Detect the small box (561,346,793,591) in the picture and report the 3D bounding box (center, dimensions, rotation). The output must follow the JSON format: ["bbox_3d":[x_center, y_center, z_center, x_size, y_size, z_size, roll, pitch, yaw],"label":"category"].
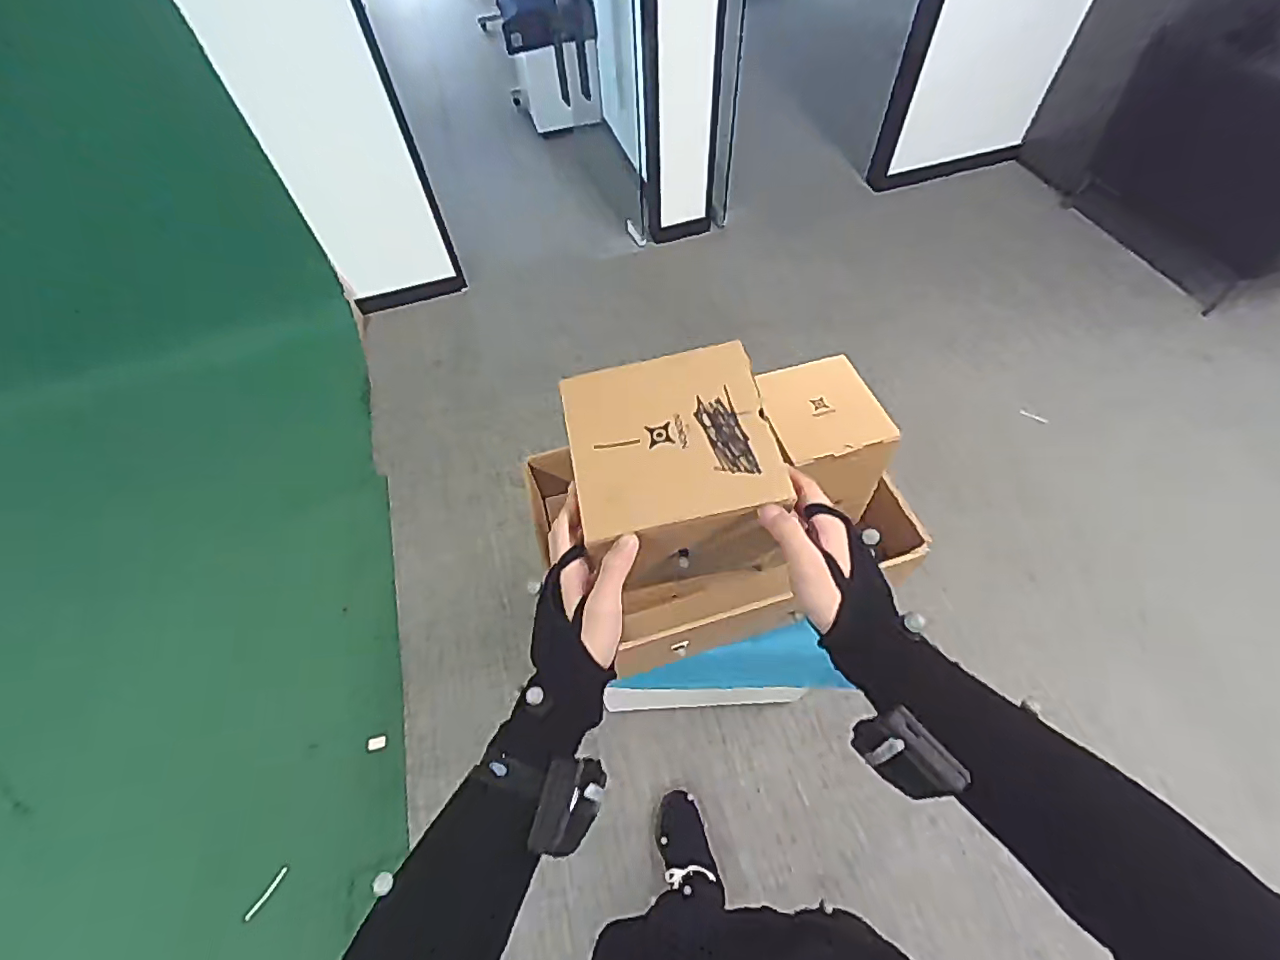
[{"bbox_3d":[0.030,-0.002,0.539,0.179,0.176,0.168,-12,62,-1],"label":"small box"}]

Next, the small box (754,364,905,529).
[{"bbox_3d":[0.273,-0.051,0.854,0.168,0.176,0.179,-15,55,-6],"label":"small box"}]
